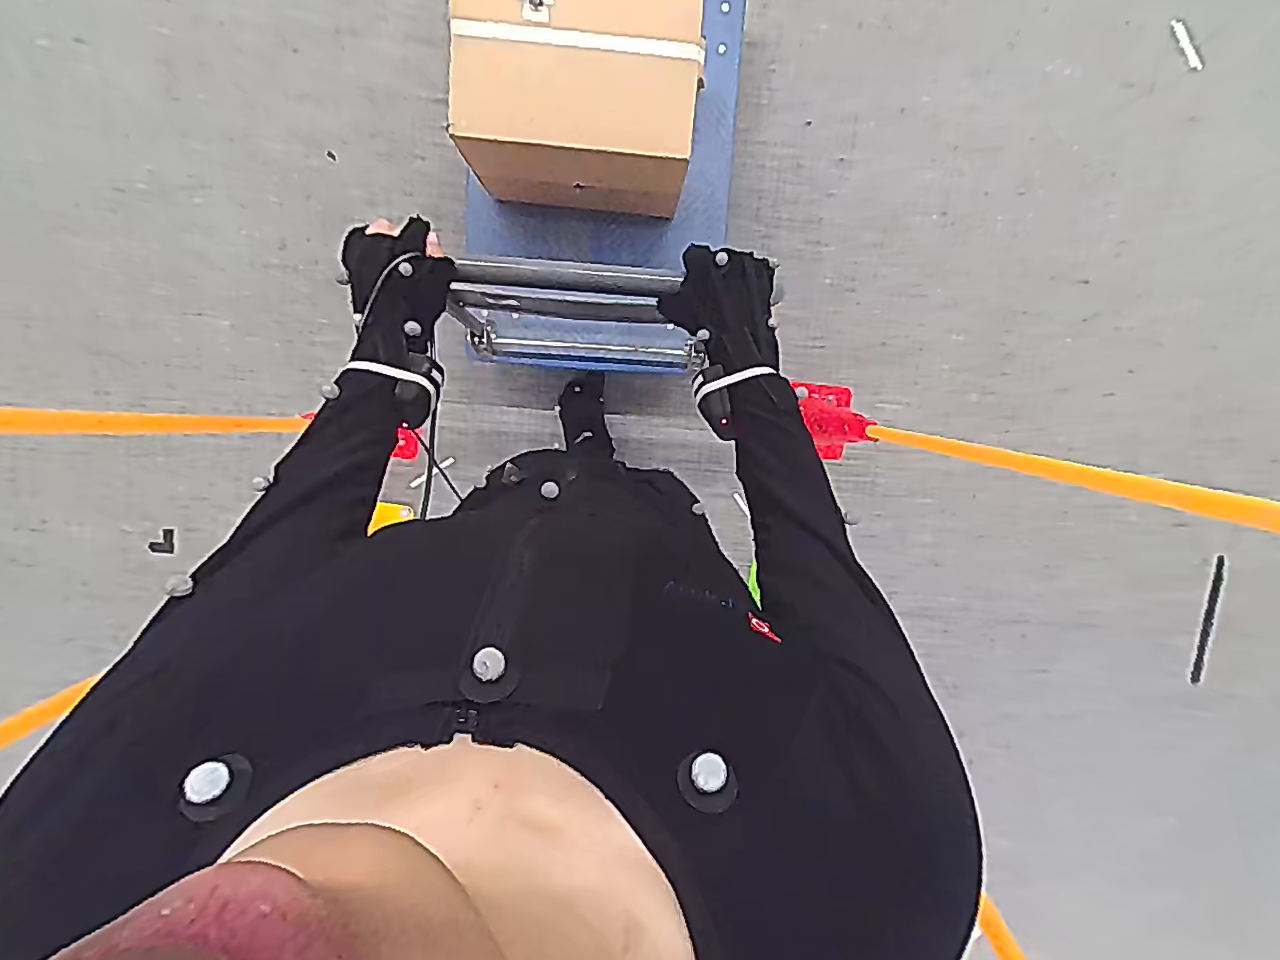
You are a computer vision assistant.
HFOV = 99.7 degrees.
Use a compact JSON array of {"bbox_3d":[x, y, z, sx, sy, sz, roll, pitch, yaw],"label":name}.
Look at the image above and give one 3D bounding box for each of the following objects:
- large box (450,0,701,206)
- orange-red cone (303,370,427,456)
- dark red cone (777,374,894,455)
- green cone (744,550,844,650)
[{"bbox_3d":[-0.107,-0.739,1.021,0.408,0.320,0.320,5,99,-2],"label":"large box"},{"bbox_3d":[-0.661,-0.151,1.247,0.198,0.360,0.199,12,97,-5],"label":"orange-red cone"},{"bbox_3d":[0.473,-0.145,1.261,0.201,0.394,0.202,4,99,-4],"label":"dark red cone"},{"bbox_3d":[0.411,0.328,1.352,0.202,0.368,0.200,8,99,-4],"label":"green cone"}]
